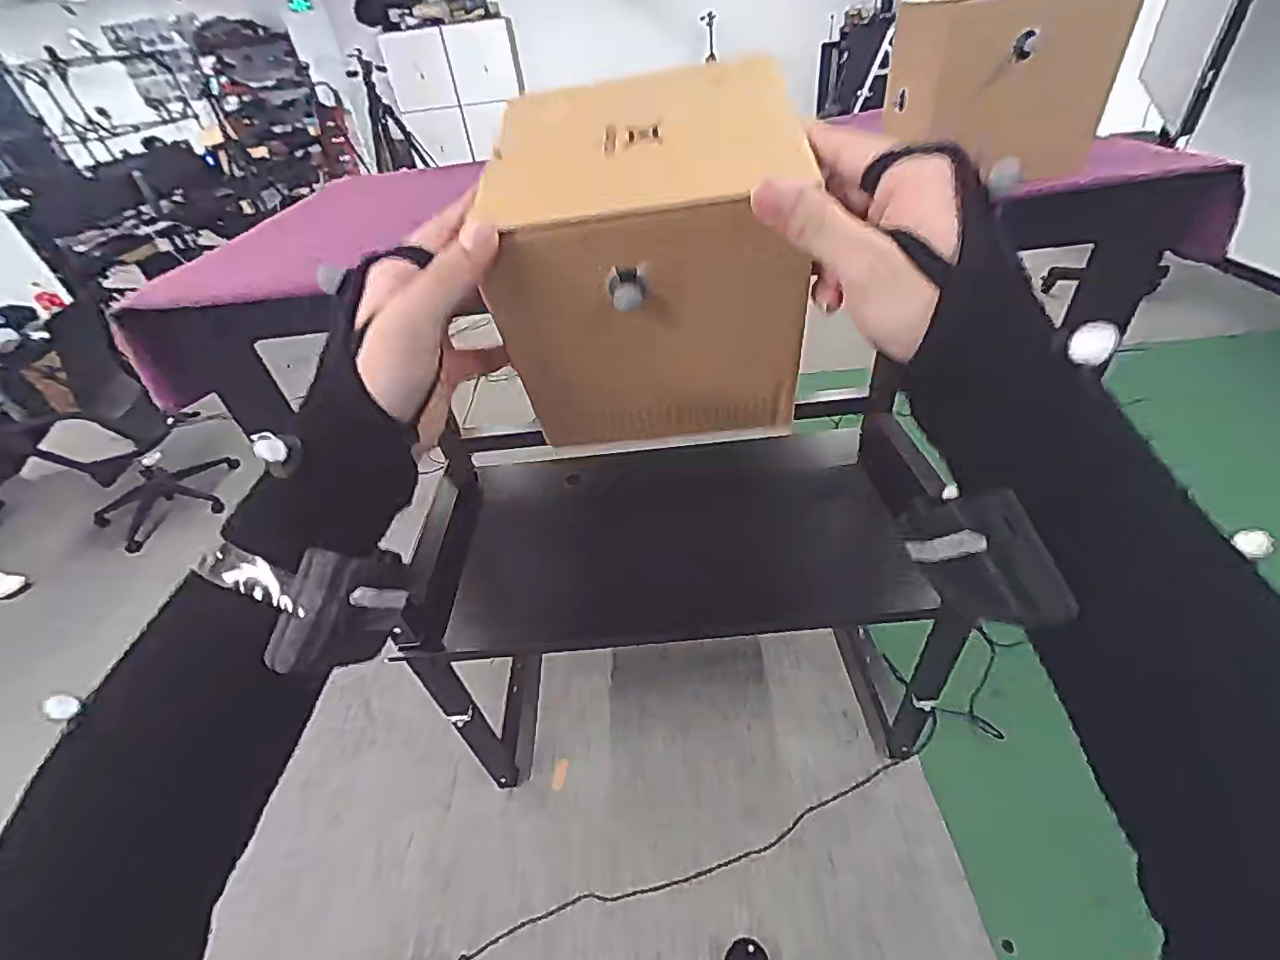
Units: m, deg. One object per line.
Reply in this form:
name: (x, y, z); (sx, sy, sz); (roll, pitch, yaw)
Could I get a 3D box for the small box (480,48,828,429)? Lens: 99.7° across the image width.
small box: (0.016, -0.154, 0.374); (0.179, 0.176, 0.168); (-6, 54, 8)

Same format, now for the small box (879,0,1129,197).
small box: (0.387, -0.436, 0.617); (0.179, 0.176, 0.168); (-3, 41, 6)
